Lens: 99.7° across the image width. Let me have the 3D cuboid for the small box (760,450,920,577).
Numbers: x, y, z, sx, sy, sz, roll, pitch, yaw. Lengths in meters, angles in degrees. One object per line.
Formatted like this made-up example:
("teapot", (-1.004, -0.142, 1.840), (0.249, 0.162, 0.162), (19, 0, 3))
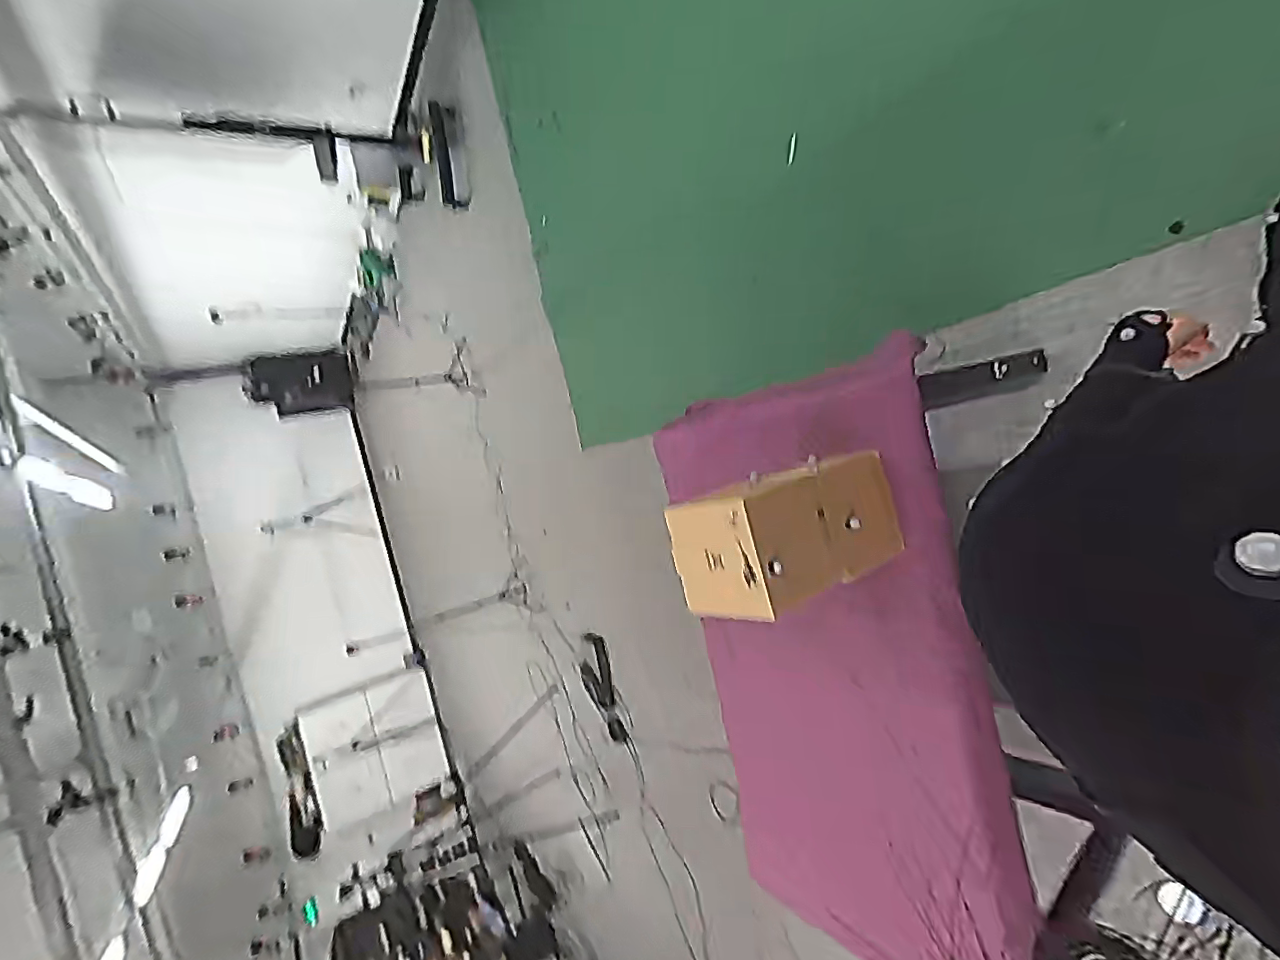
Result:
("small box", (0.333, 0.054, 0.907), (0.168, 0.176, 0.179), (-16, 90, 56))

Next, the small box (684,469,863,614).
("small box", (0.199, 0.089, 0.819), (0.179, 0.176, 0.168), (-15, 92, 57))
